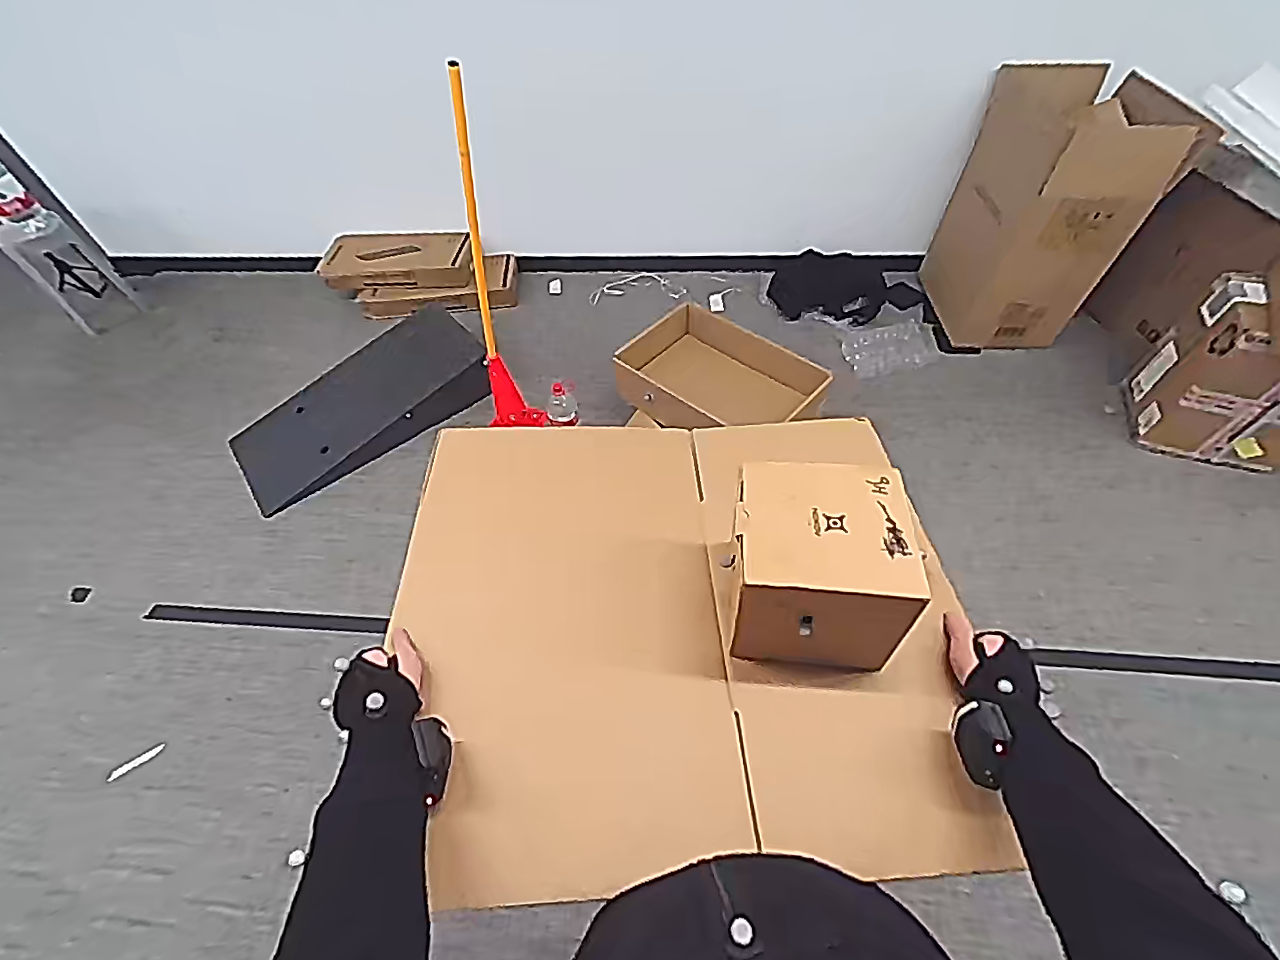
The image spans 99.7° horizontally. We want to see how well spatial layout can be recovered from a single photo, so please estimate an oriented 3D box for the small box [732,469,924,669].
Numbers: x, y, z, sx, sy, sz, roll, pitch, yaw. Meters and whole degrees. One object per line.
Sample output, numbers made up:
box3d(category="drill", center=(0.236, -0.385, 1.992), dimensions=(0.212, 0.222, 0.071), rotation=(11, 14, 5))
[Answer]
box3d(category="small box", center=(0.199, 0.105, 0.629), dimensions=(0.179, 0.176, 0.168), rotation=(3, 49, 8))
